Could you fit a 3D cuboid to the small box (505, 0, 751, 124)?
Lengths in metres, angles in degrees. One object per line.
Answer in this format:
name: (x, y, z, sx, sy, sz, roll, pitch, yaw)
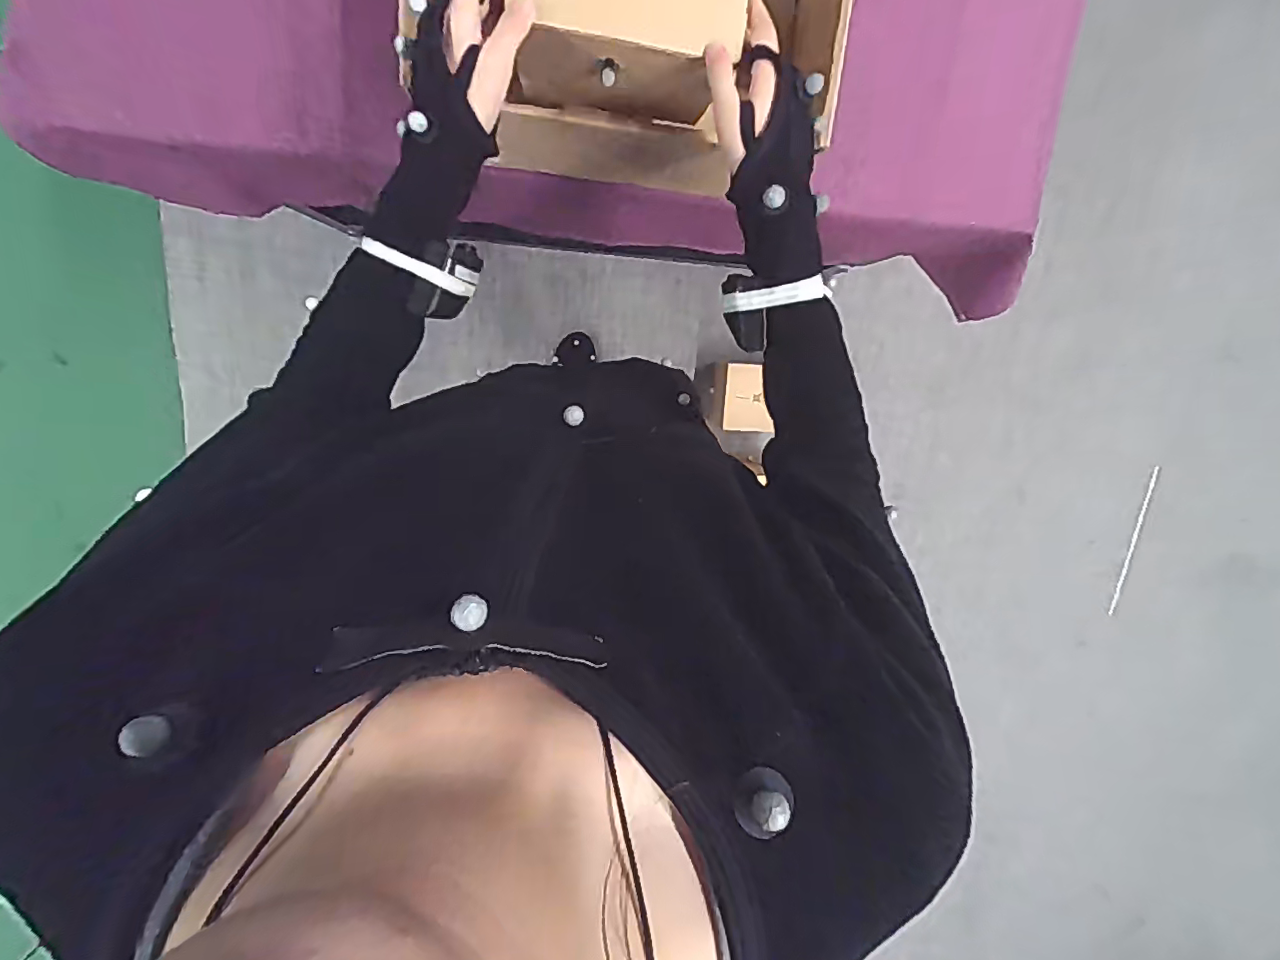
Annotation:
small box: (-0.007, -0.419, 0.445, 0.179, 0.176, 0.168, 5, 110, -9)
